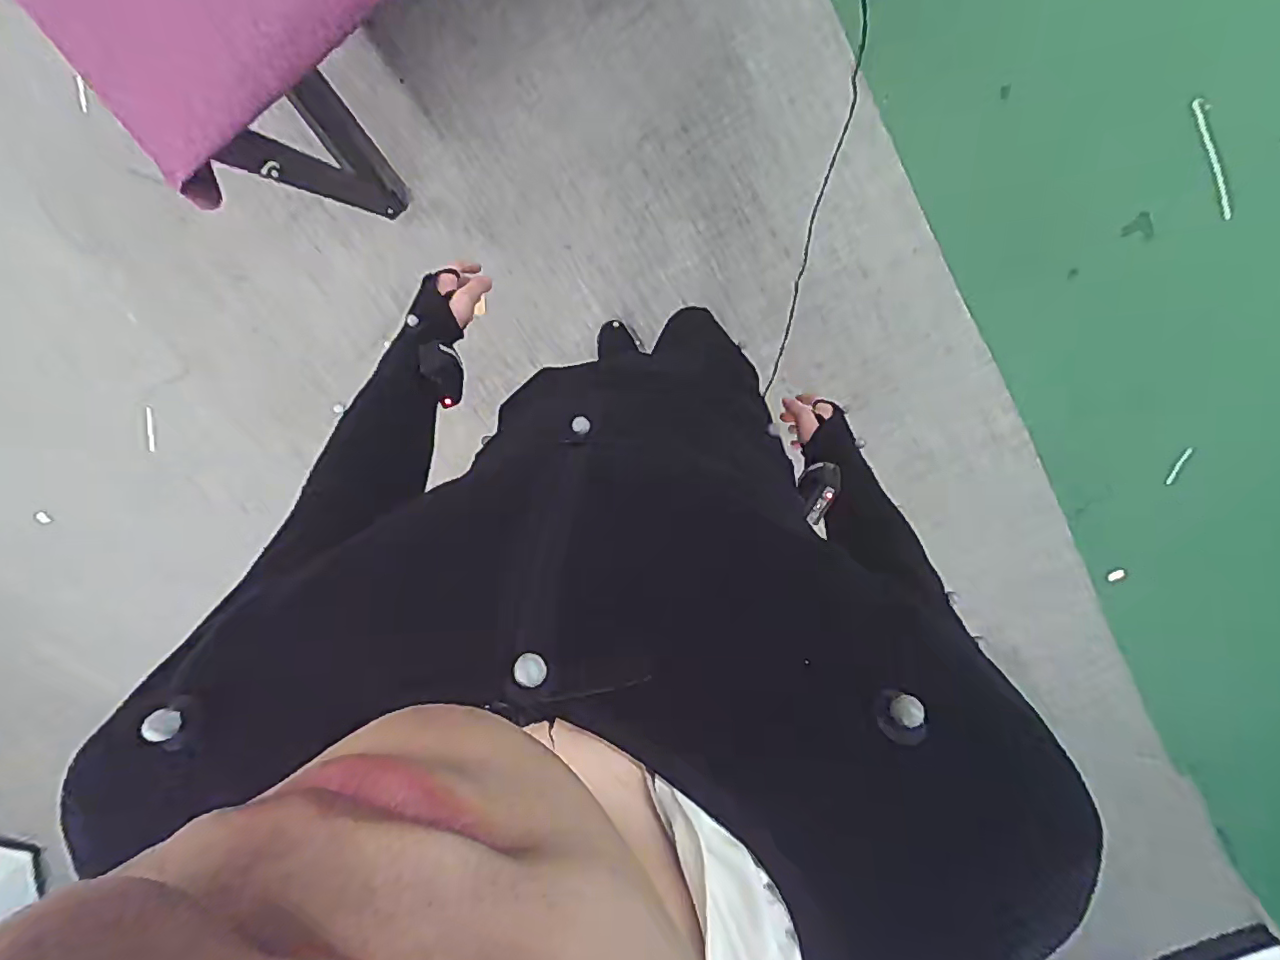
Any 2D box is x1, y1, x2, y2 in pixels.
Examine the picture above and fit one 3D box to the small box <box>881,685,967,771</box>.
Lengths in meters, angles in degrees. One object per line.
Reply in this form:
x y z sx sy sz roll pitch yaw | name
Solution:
0.943 0.823 1.809 0.179 0.176 0.168 -27 105 11 | small box
